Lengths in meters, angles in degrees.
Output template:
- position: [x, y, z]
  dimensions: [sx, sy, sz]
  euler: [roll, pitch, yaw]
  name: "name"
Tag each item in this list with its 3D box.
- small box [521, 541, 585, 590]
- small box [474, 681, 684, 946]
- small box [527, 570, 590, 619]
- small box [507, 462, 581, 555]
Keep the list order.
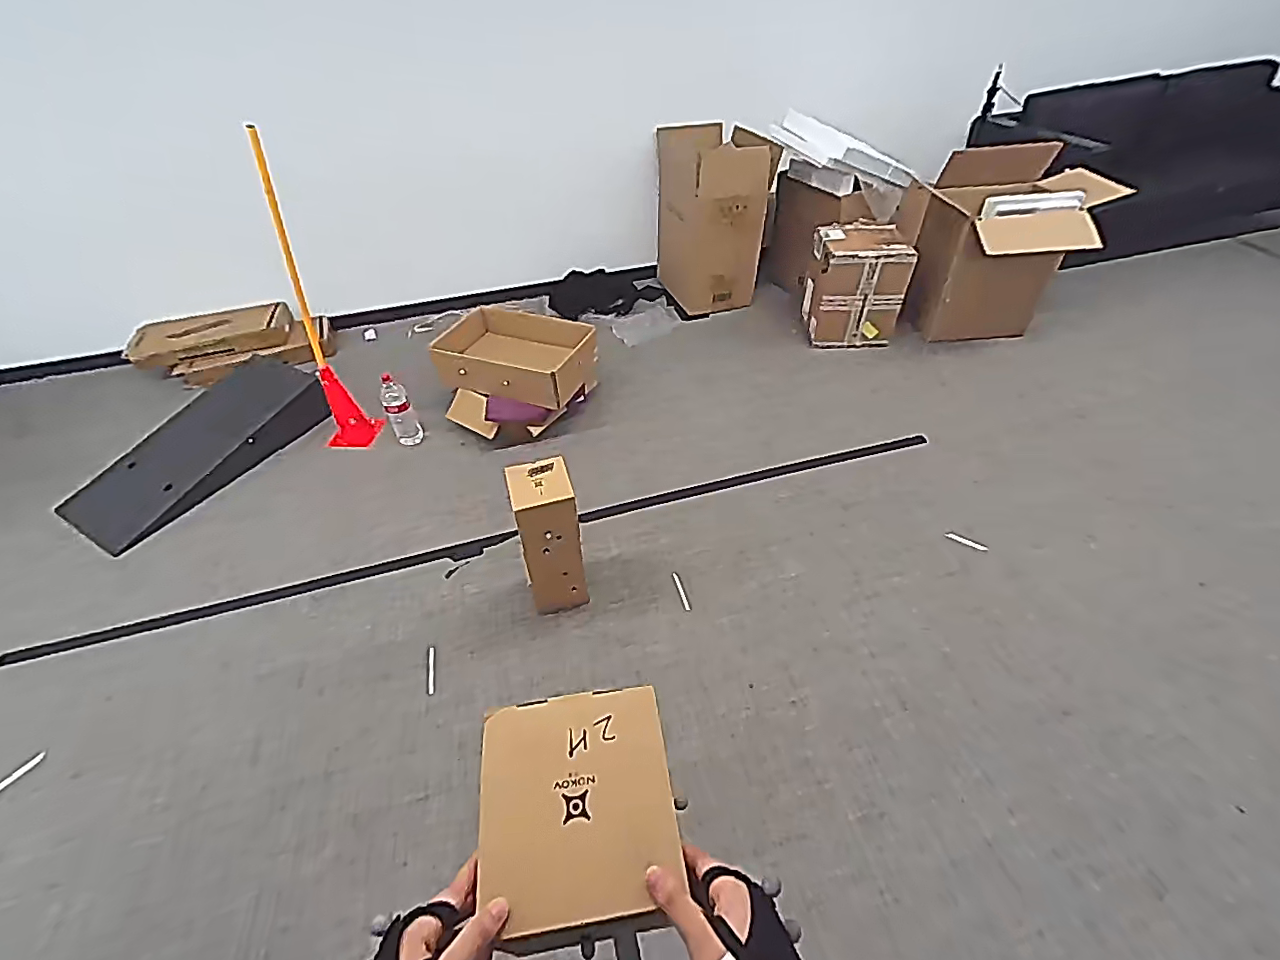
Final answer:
- position: [-0.269, 0.202, 1.637]
  dimensions: [0.168, 0.176, 0.179]
  euler: [-14, 43, -11]
  name: "small box"
- position: [-0.054, 0.325, 0.524]
  dimensions: [0.168, 0.176, 0.179]
  euler: [-7, 45, -5]
  name: "small box"
- position: [-0.263, 0.321, 1.750]
  dimensions: [0.179, 0.176, 0.168]
  euler: [-14, 44, -9]
  name: "small box"
- position: [-0.271, 0.081, 1.525]
  dimensions: [0.168, 0.176, 0.179]
  euler: [-14, 45, -11]
  name: "small box"
